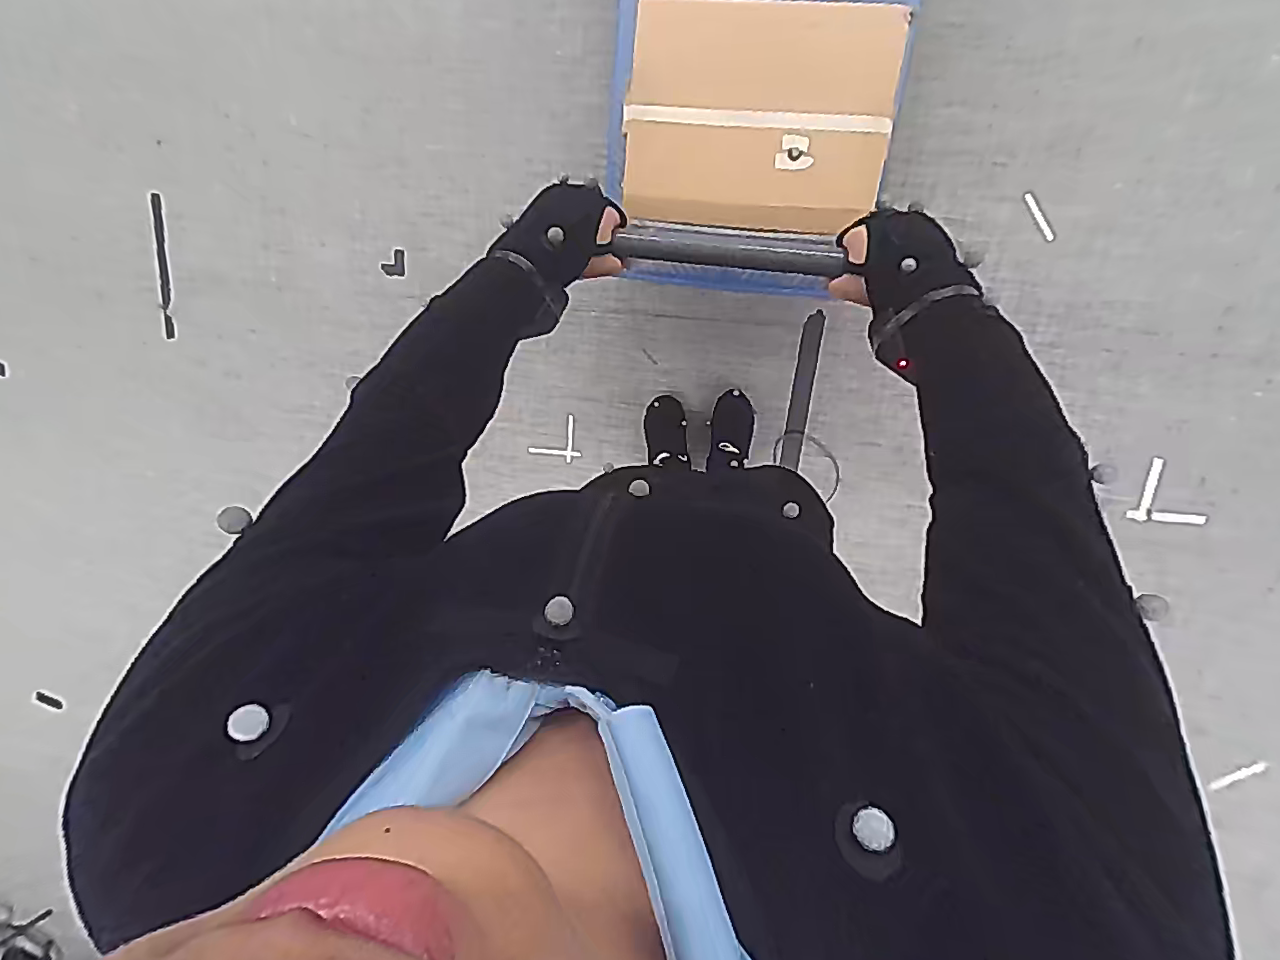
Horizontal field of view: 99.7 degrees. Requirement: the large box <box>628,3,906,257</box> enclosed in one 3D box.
[{"bbox_3d":[0.202,-0.607,0.998,0.408,0.320,0.320,7,107,6],"label":"large box"}]
